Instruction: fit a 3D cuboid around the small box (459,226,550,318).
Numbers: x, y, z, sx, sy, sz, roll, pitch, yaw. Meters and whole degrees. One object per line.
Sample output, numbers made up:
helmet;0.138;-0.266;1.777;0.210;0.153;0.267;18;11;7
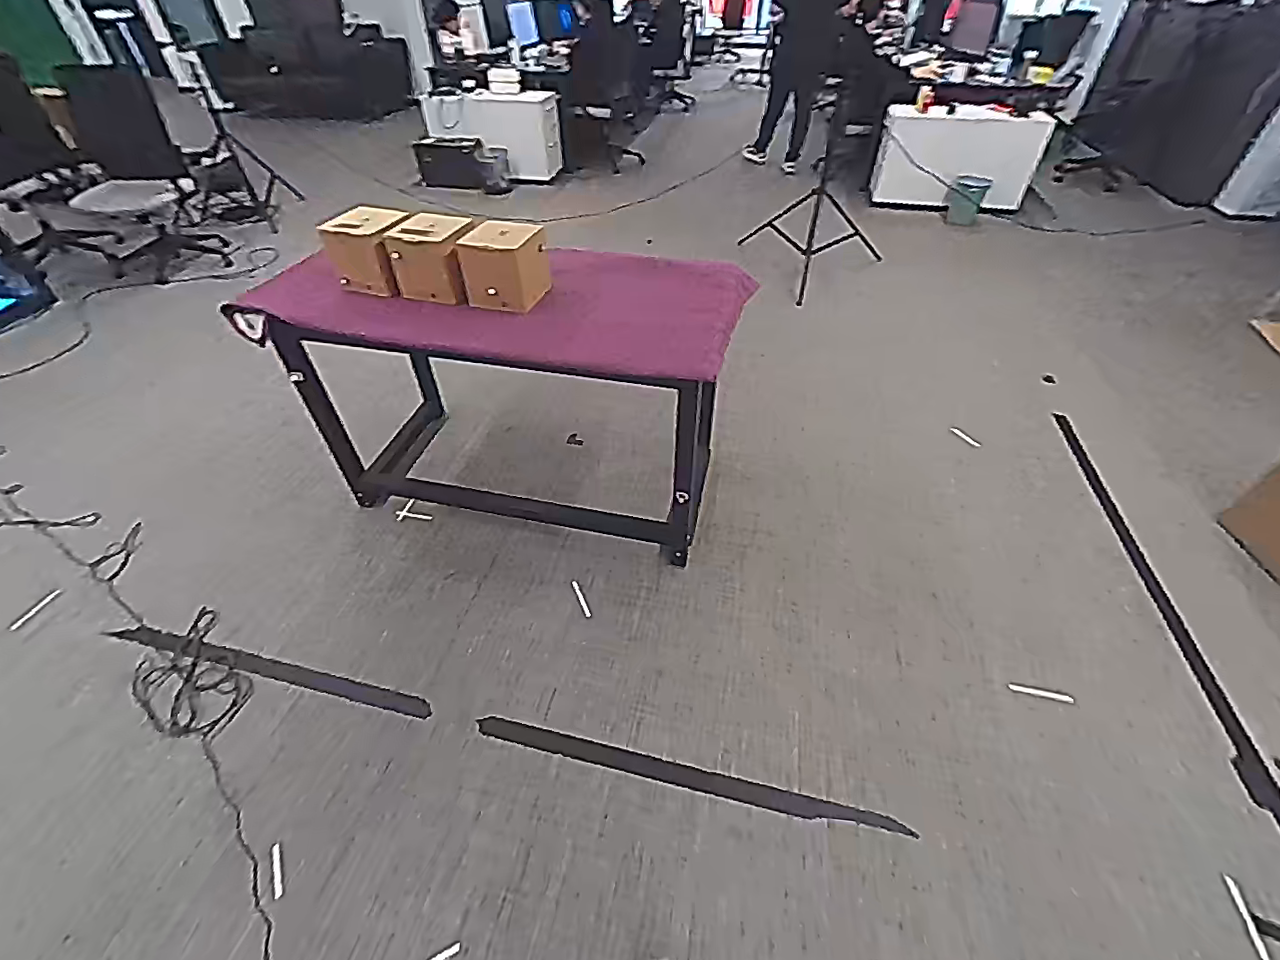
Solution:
small box;-0.348;-0.552;1.433;0.168;0.176;0.179;10;45;12
